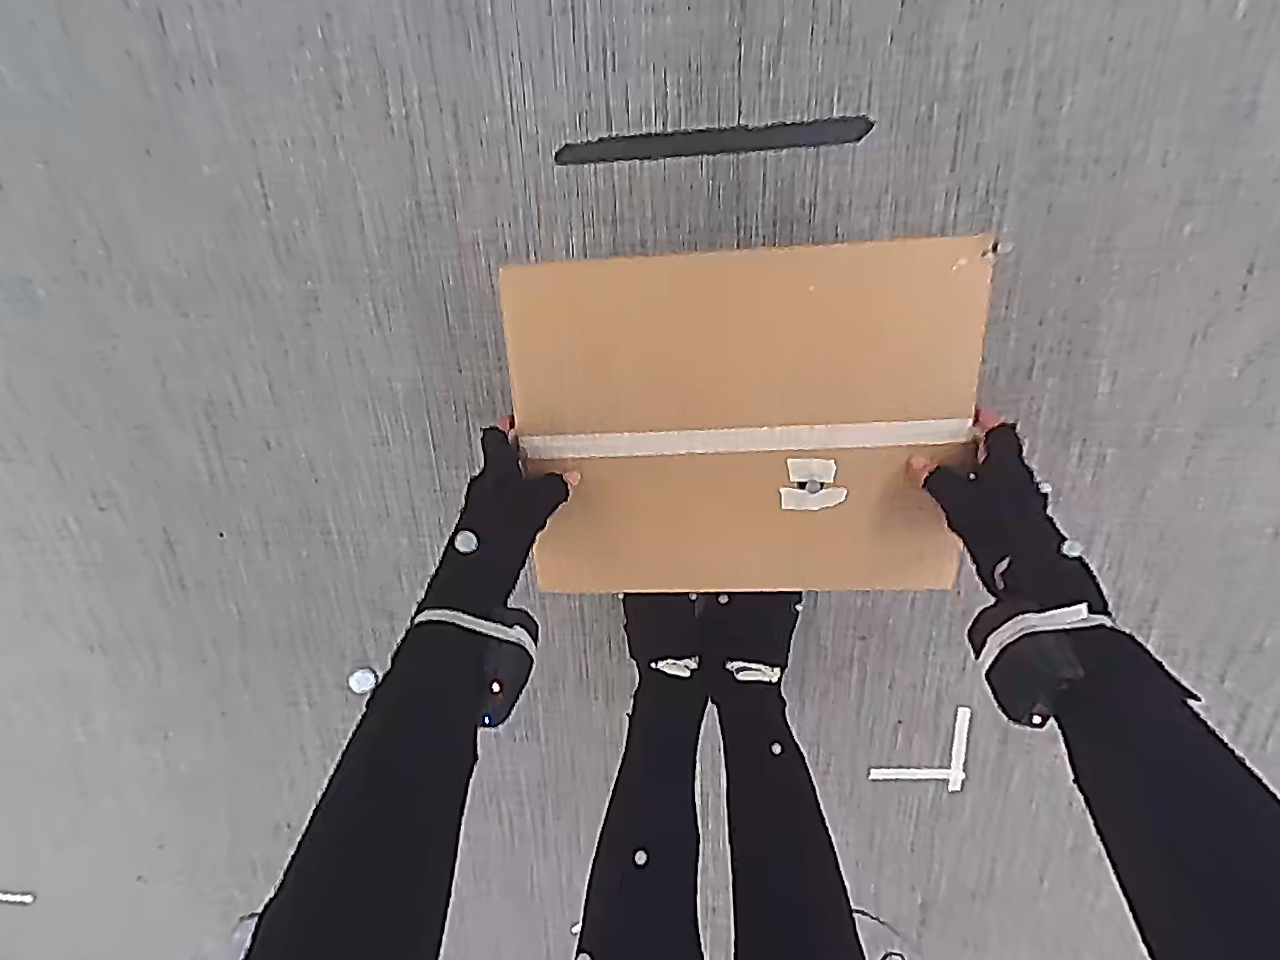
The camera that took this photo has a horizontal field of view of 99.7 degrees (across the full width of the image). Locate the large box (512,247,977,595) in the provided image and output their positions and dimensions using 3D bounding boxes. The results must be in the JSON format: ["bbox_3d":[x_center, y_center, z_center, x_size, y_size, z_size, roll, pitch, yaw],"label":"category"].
[{"bbox_3d":[0.102,-0.078,0.647,0.408,0.320,0.320,-2,107,5],"label":"large box"}]
